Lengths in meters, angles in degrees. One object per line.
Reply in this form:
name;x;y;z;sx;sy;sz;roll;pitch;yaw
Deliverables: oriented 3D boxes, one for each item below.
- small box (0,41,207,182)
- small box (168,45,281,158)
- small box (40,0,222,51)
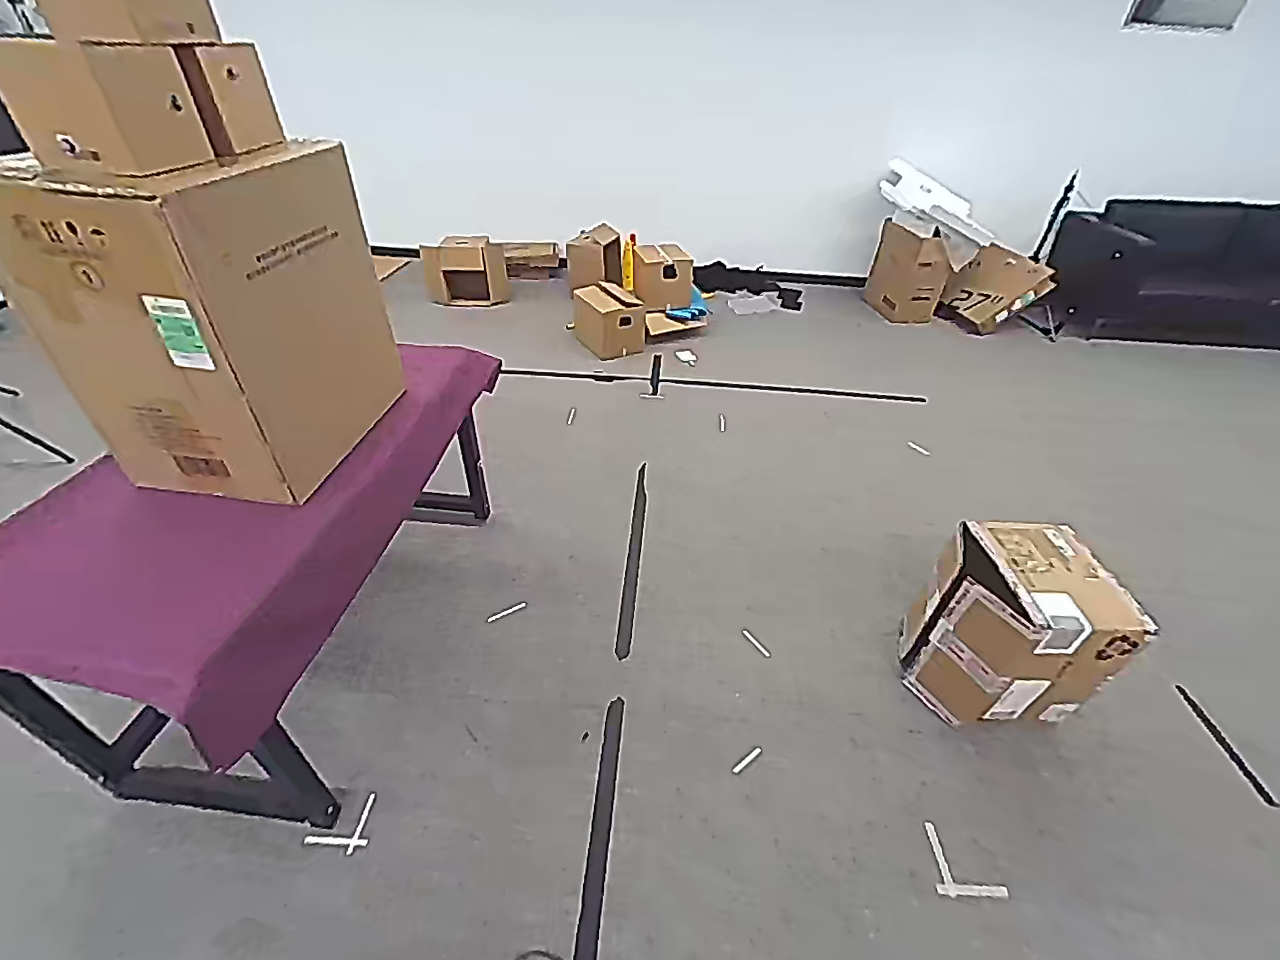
small box;-0.857;-0.595;0.876;0.168;0.176;0.179;3;38;1
small box;-0.844;-0.736;1.049;0.168;0.176;0.179;4;39;1
small box;-0.849;-0.808;0.879;0.179;0.176;0.168;9;41;9
